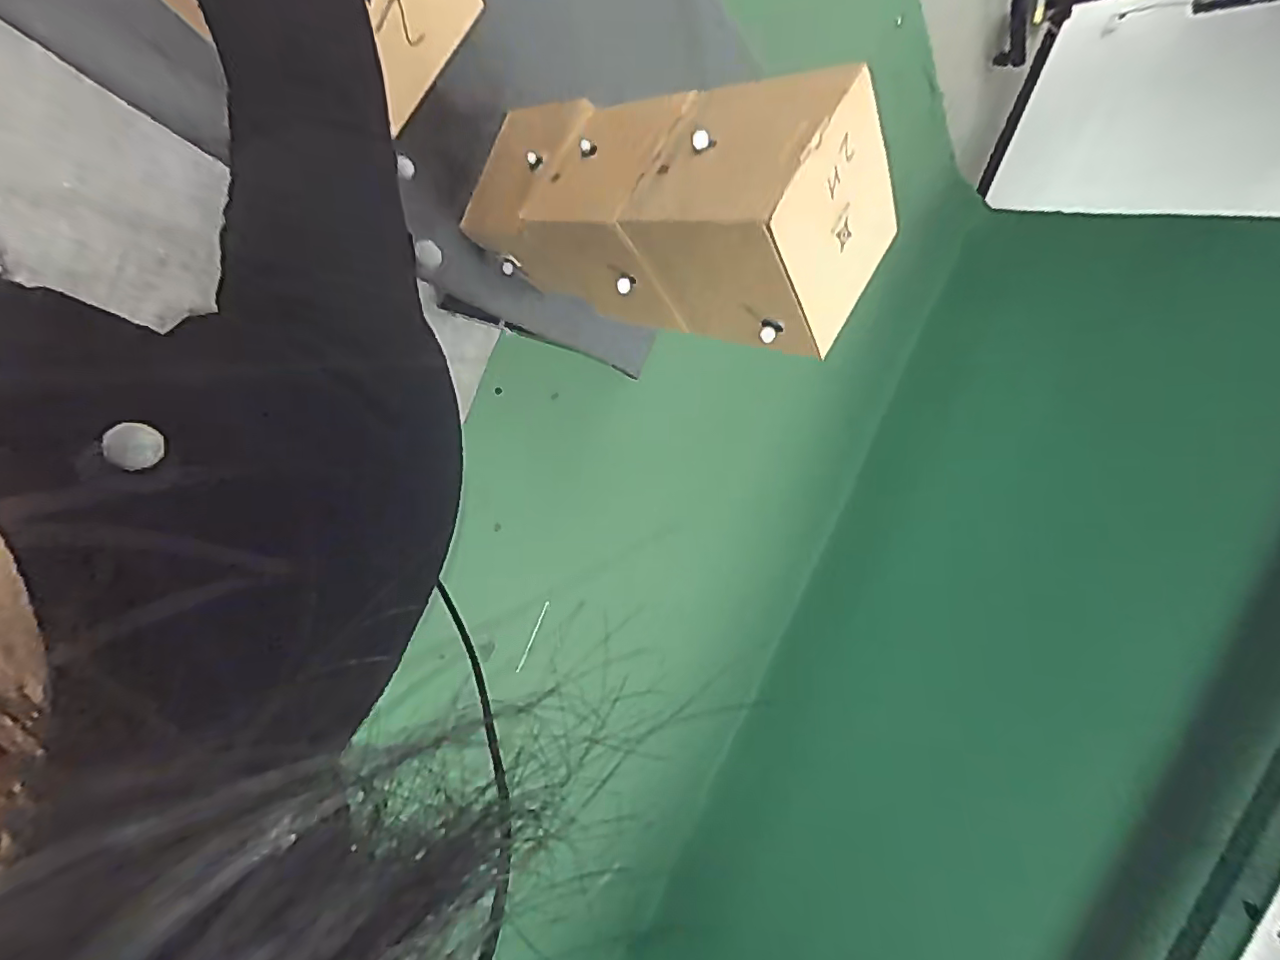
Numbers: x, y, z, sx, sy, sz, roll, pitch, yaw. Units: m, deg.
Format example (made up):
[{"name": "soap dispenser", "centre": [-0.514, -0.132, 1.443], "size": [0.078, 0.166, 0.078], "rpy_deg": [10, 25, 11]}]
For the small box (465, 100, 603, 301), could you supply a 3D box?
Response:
[{"name": "small box", "centre": [-0.107, -0.364, 0.731], "size": [0.168, 0.176, 0.179], "rpy_deg": [22, 92, -49]}]

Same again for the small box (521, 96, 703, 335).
[{"name": "small box", "centre": [0.001, -0.298, 0.628], "size": [0.179, 0.176, 0.168], "rpy_deg": [39, 79, -48]}]

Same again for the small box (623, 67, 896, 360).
[{"name": "small box", "centre": [0.118, -0.246, 0.524], "size": [0.168, 0.176, 0.179], "rpy_deg": [-59, 139, -9]}]
